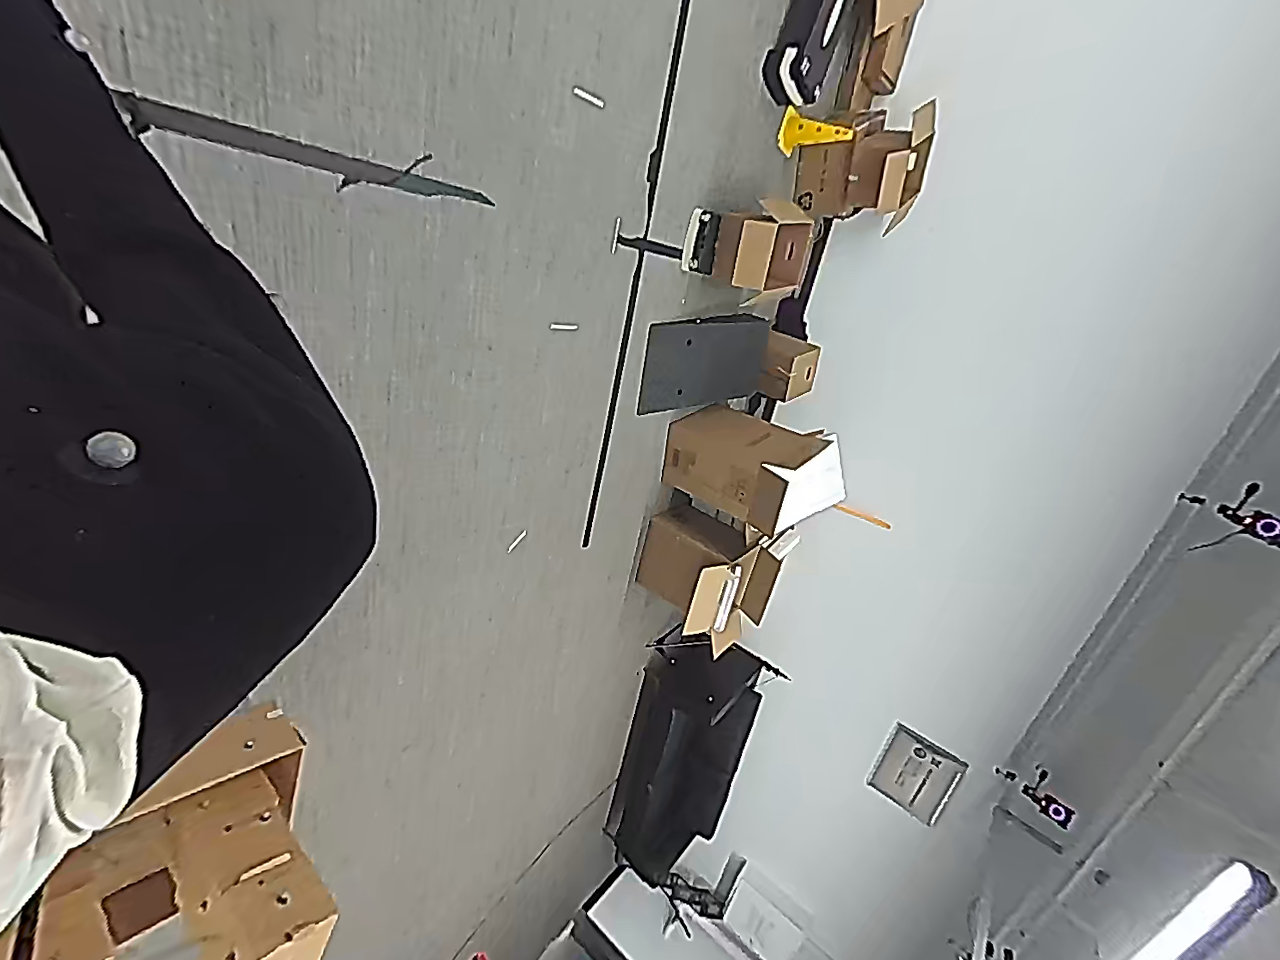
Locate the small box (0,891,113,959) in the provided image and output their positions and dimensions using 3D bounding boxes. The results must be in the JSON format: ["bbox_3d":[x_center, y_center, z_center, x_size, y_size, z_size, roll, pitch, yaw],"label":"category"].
[{"bbox_3d":[-1.083,0.898,0.958,0.179,0.176,0.168,-2,116,-57],"label":"small box"}]

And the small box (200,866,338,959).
[{"bbox_3d":[-0.781,0.962,1.136,0.168,0.176,0.179,15,101,-59],"label":"small box"}]

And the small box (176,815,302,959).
[{"bbox_3d":[-0.908,0.901,1.222,0.168,0.176,0.179,8,108,-58],"label":"small box"}]
